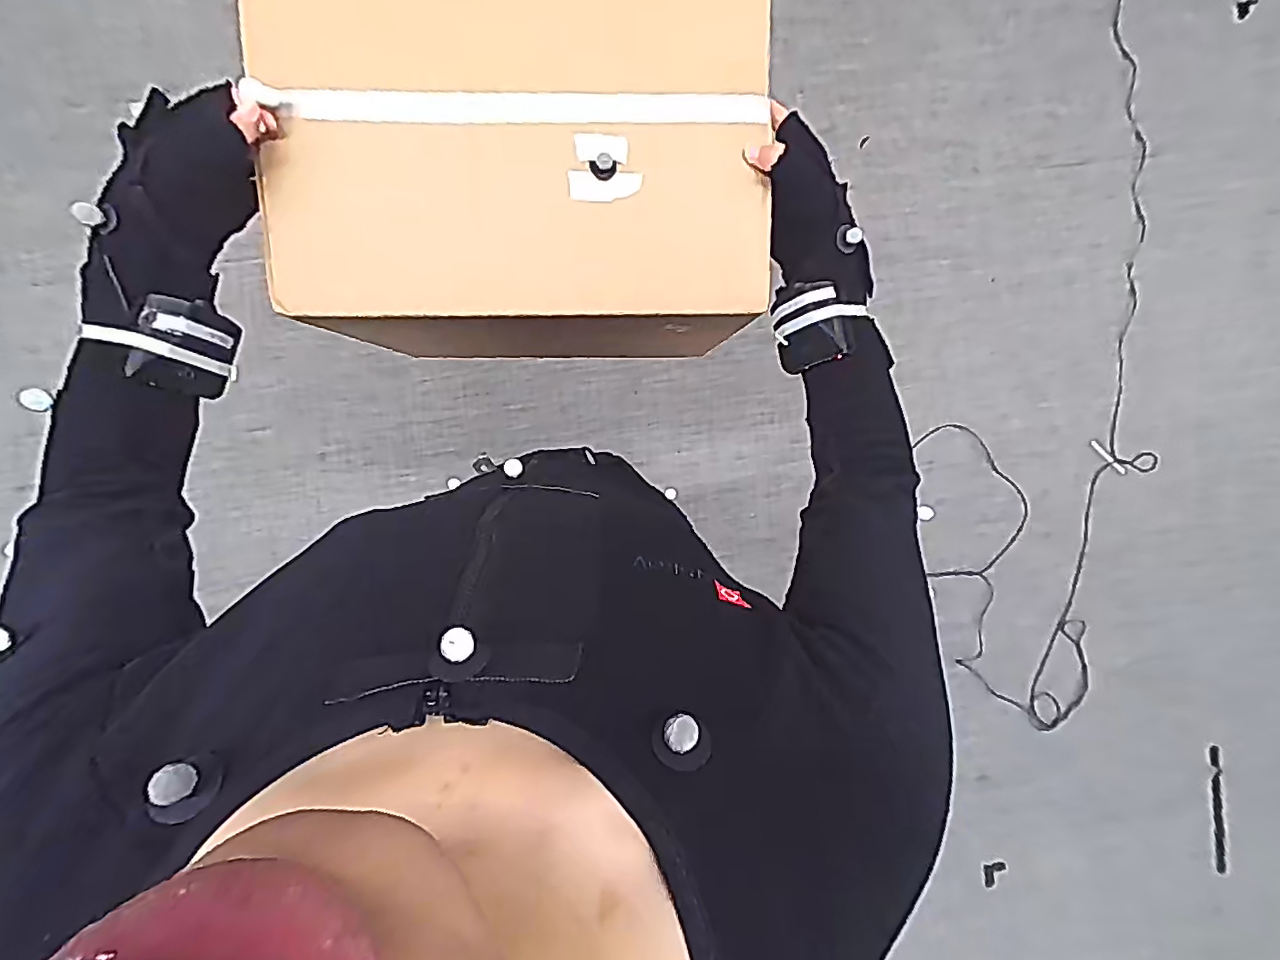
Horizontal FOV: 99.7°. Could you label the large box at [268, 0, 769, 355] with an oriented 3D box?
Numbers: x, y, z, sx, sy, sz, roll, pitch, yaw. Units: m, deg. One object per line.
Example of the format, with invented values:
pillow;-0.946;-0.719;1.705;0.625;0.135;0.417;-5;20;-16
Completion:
large box;-0.102;-0.316;0.589;0.408;0.320;0.320;-1;97;-4
